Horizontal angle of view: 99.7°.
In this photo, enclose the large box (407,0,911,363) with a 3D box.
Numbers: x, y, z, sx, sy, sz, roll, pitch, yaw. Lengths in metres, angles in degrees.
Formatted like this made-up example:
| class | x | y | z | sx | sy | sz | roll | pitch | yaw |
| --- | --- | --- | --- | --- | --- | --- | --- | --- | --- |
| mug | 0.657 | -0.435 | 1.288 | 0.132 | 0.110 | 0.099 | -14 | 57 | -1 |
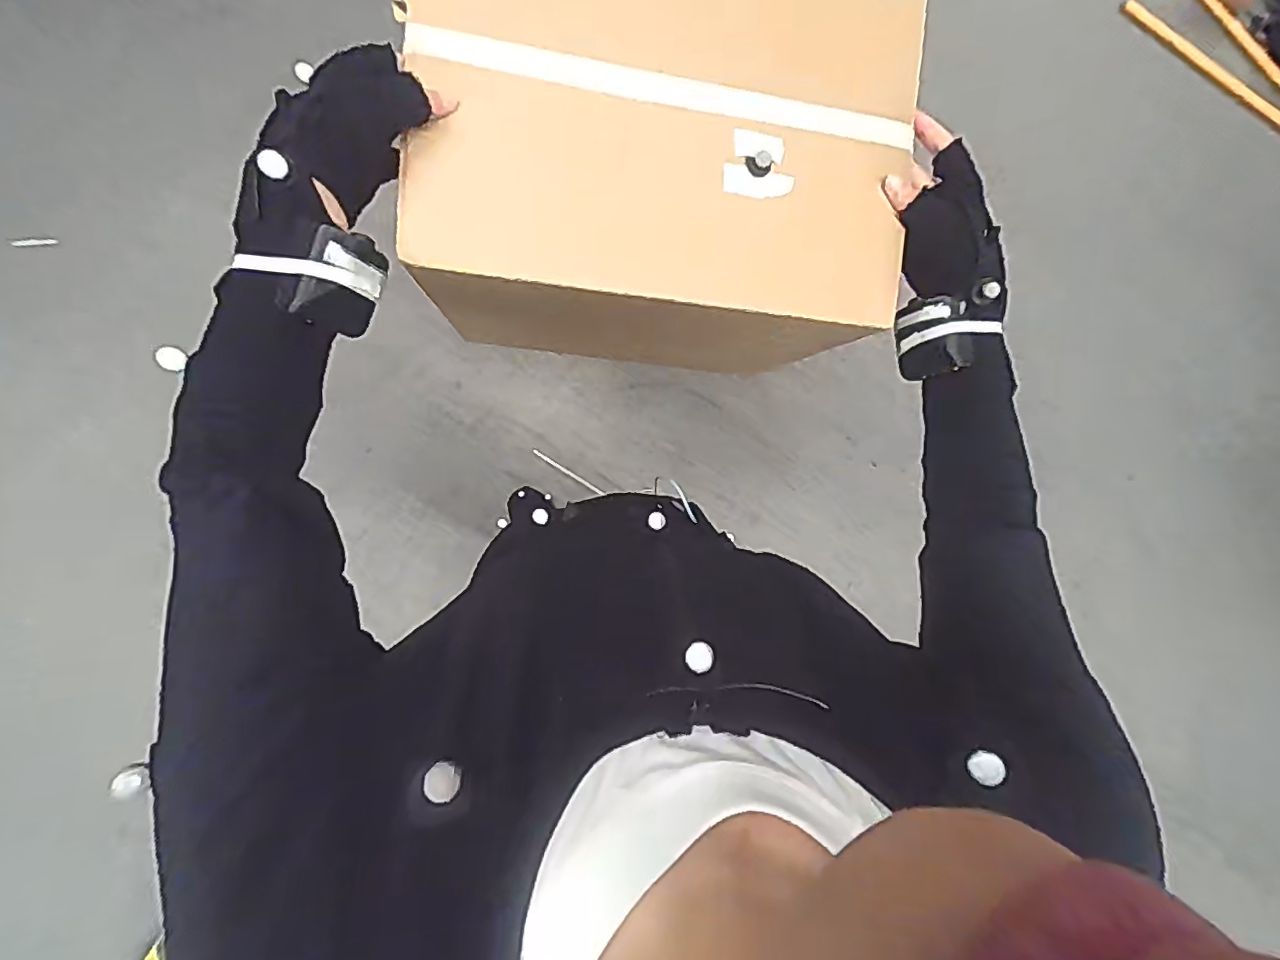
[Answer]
| class | x | y | z | sx | sy | sz | roll | pitch | yaw |
| --- | --- | --- | --- | --- | --- | --- | --- | --- | --- |
| large box | 0.000 | -0.317 | 0.573 | 0.408 | 0.320 | 0.320 | 4 | 93 | -11 |
